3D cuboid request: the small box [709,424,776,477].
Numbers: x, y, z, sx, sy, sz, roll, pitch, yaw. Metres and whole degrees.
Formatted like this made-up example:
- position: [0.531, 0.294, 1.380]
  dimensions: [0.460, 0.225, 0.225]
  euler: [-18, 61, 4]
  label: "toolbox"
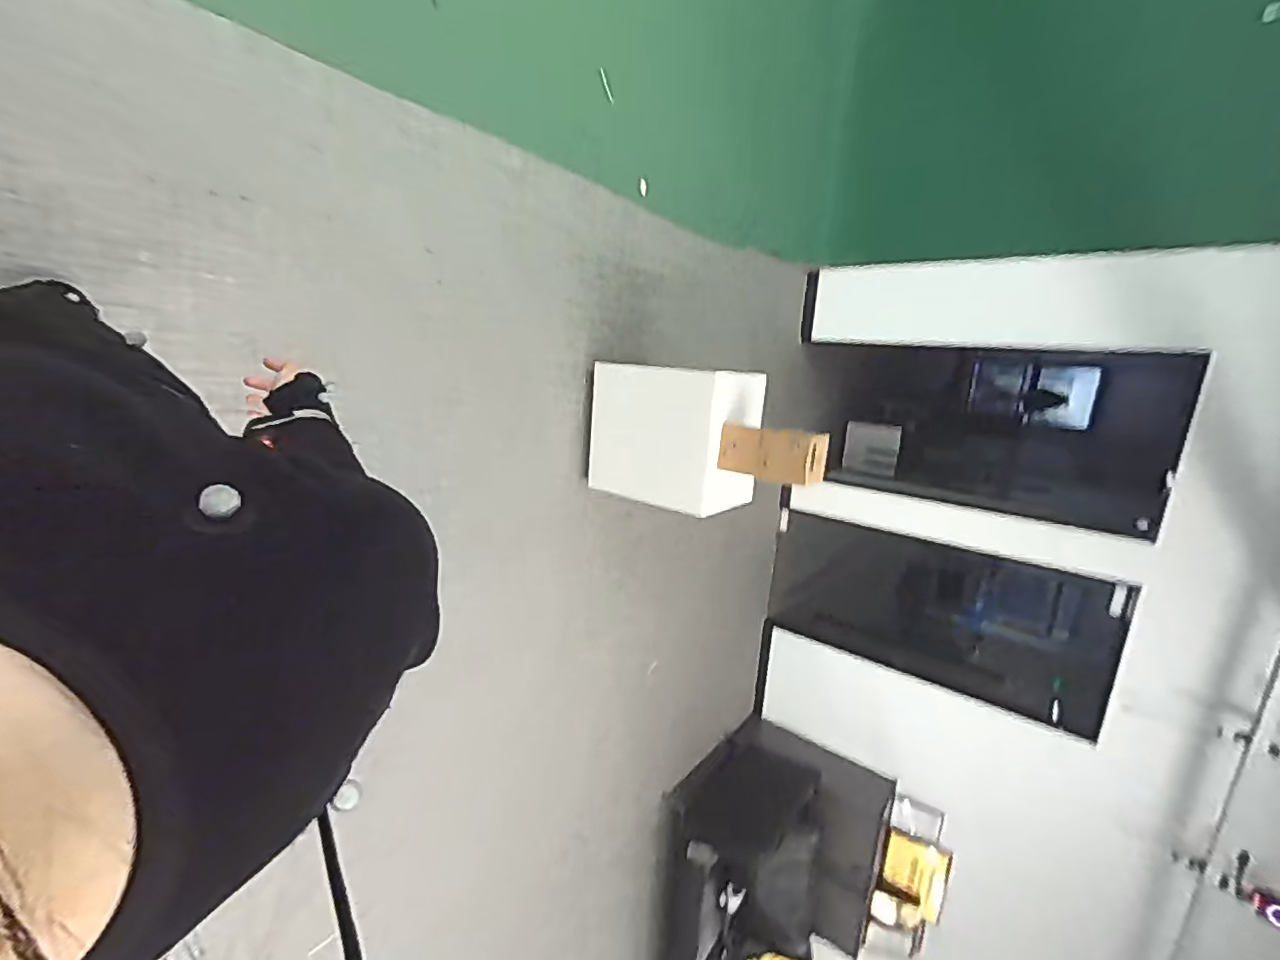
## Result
- position: [0.368, -0.111, 1.948]
  dimensions: [0.179, 0.176, 0.168]
  euler: [-8, 107, -54]
  label: "small box"
